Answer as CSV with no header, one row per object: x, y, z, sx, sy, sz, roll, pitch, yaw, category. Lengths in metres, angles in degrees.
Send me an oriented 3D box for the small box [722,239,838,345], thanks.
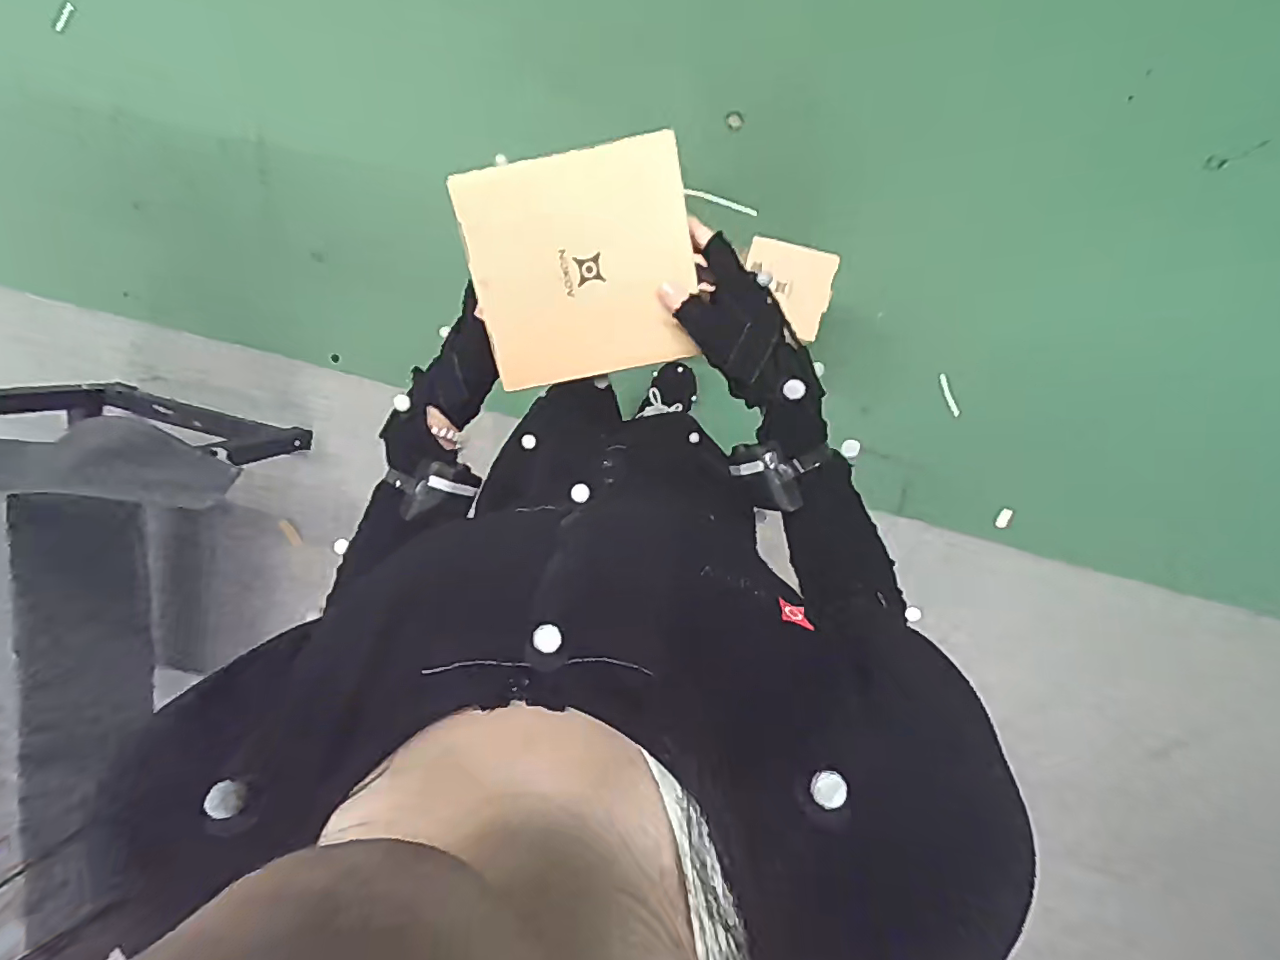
0.285,-0.388,1.140,0.179,0.176,0.168,15,103,-1,small box
